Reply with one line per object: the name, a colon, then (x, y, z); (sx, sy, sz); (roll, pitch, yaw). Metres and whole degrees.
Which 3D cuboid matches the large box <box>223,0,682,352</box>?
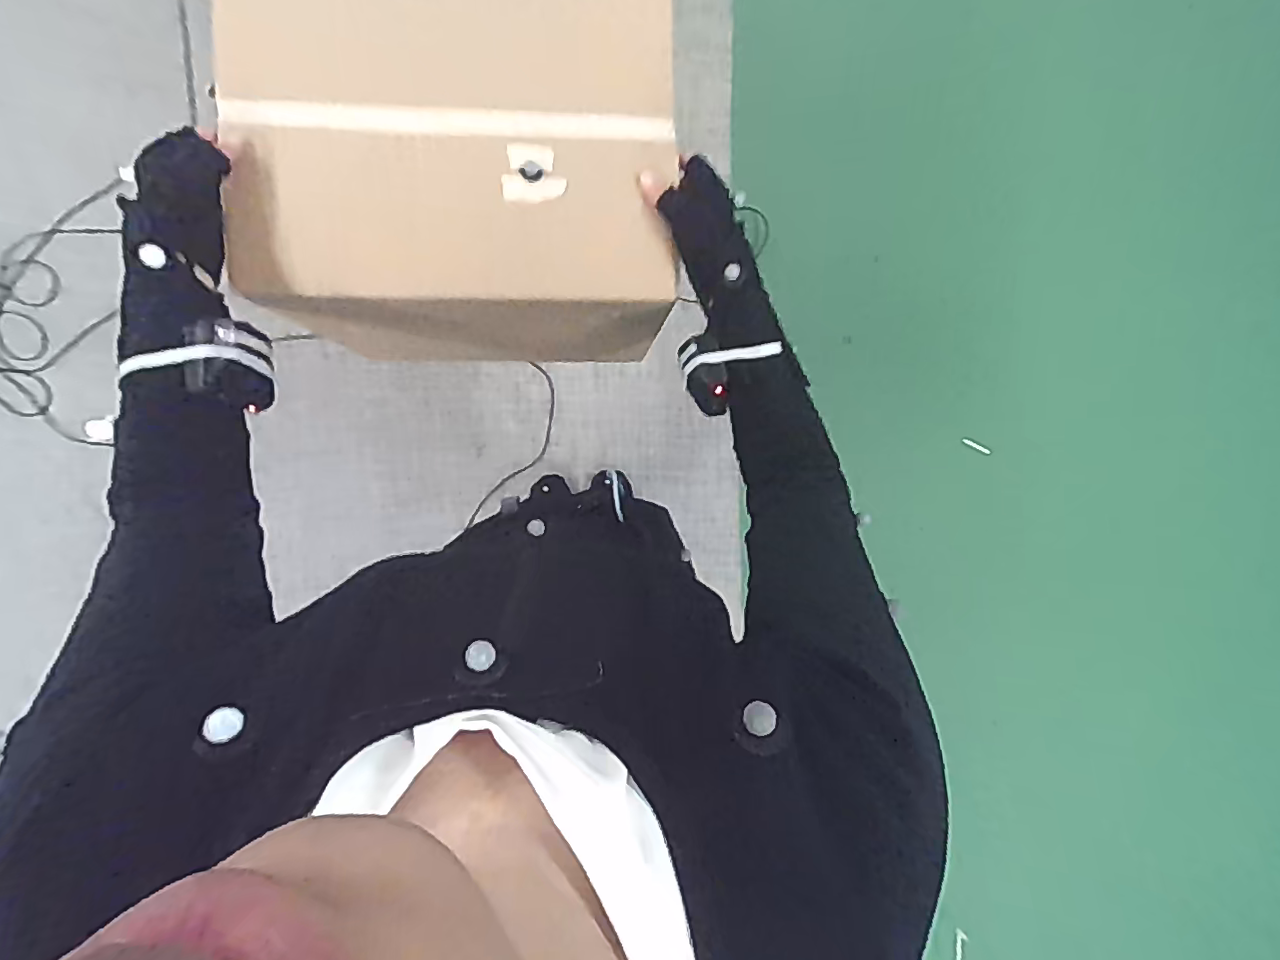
large box: (-0.180, -0.339, 0.639); (0.408, 0.320, 0.320); (-2, 93, -7)
